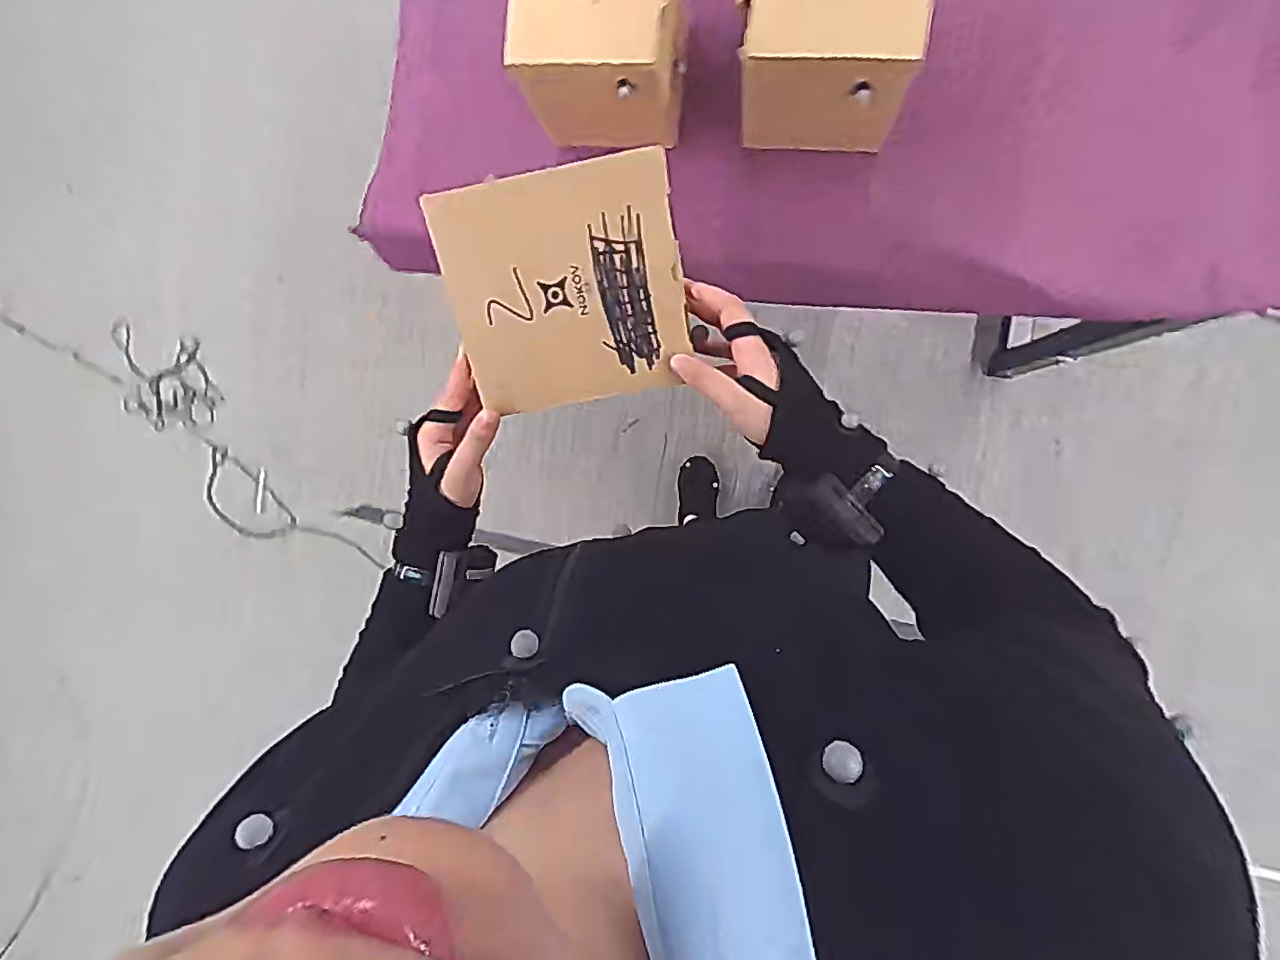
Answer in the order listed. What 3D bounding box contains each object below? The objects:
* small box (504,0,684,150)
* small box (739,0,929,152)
[{"bbox_3d":[-0.047,-0.536,0.668,0.179,0.176,0.168,6,94,9],"label":"small box"},{"bbox_3d":[0.214,-0.506,0.620,0.179,0.176,0.168,8,93,9],"label":"small box"}]
